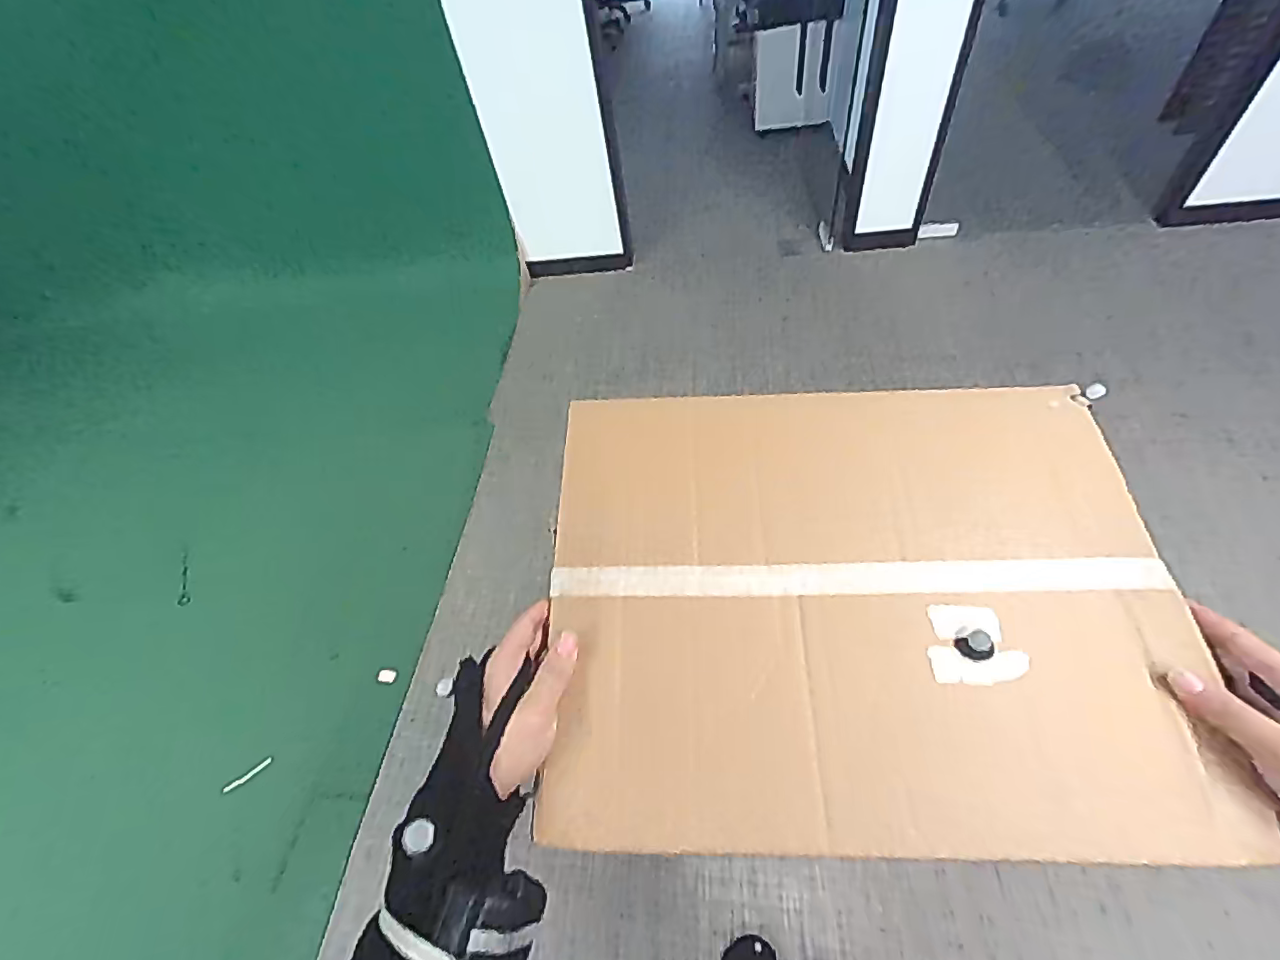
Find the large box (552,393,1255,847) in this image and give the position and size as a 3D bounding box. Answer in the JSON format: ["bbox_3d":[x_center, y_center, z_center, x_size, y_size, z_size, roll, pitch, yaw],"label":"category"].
[{"bbox_3d":[0.149,0.140,0.507,0.408,0.320,0.320,-1,62,3],"label":"large box"}]
